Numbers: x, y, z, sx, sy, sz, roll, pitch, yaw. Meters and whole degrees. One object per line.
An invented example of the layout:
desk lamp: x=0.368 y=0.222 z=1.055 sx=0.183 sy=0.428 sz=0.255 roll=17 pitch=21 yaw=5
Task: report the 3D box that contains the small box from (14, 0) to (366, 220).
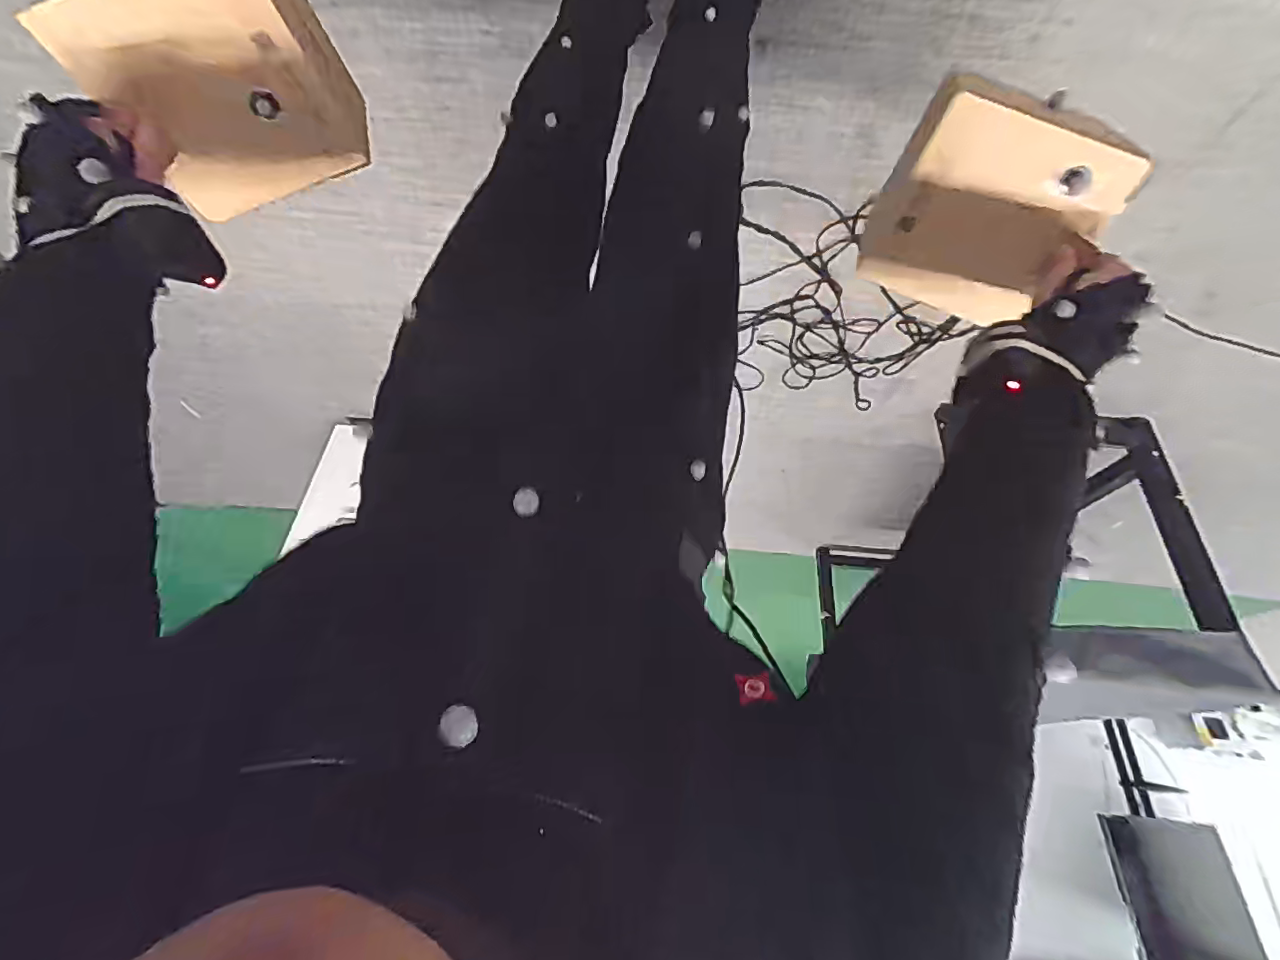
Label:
small box: x=-0.377 y=-0.381 z=0.495 sx=0.176 sy=0.179 sz=0.168 roll=-23 pitch=146 yaw=-1
